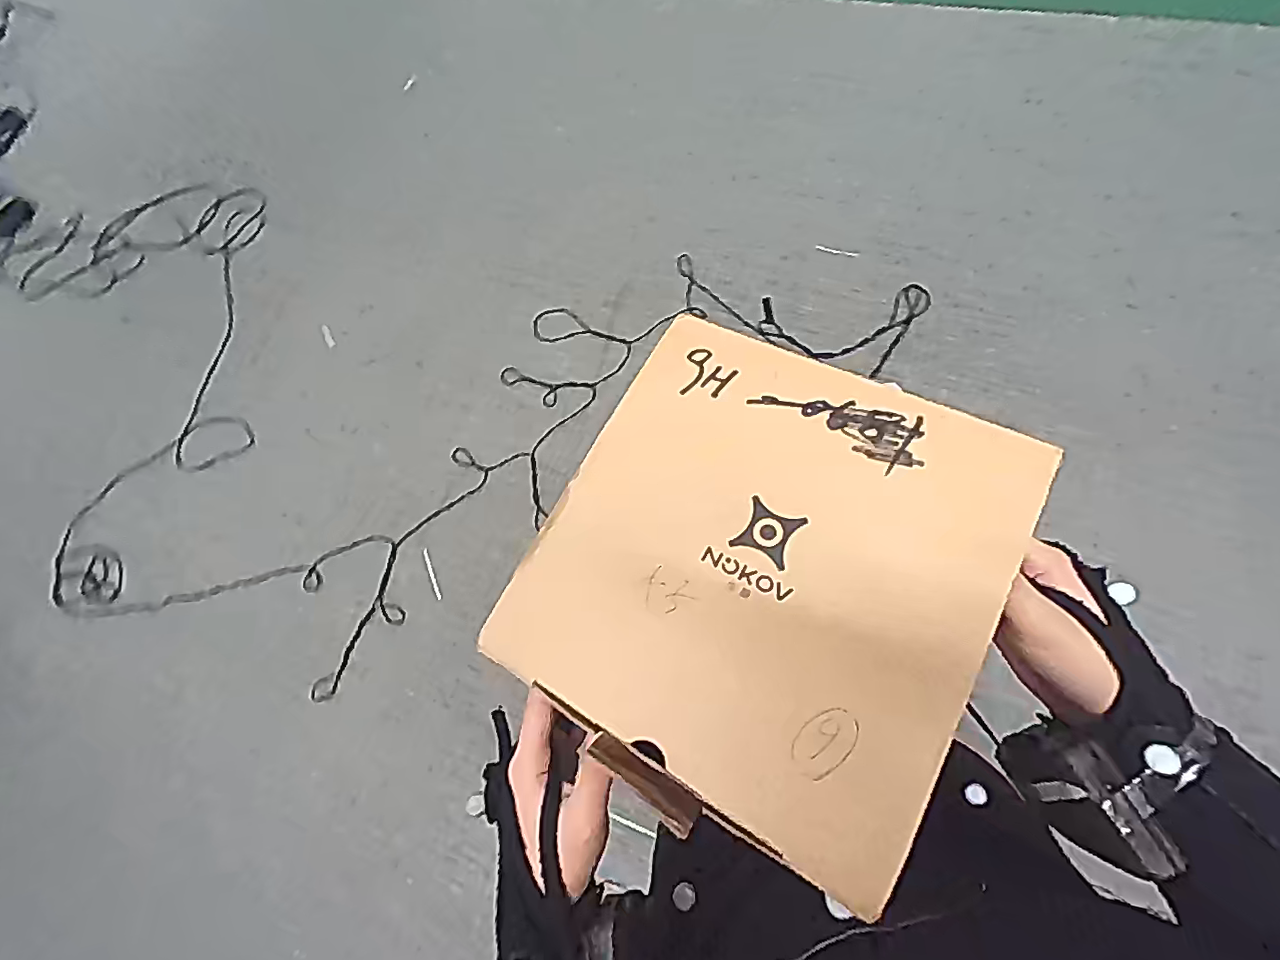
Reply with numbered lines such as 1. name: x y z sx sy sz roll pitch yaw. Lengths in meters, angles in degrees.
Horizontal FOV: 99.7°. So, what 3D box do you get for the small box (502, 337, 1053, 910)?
1. small box: 0.066 0.063 0.293 0.168 0.176 0.179 27 78 19
